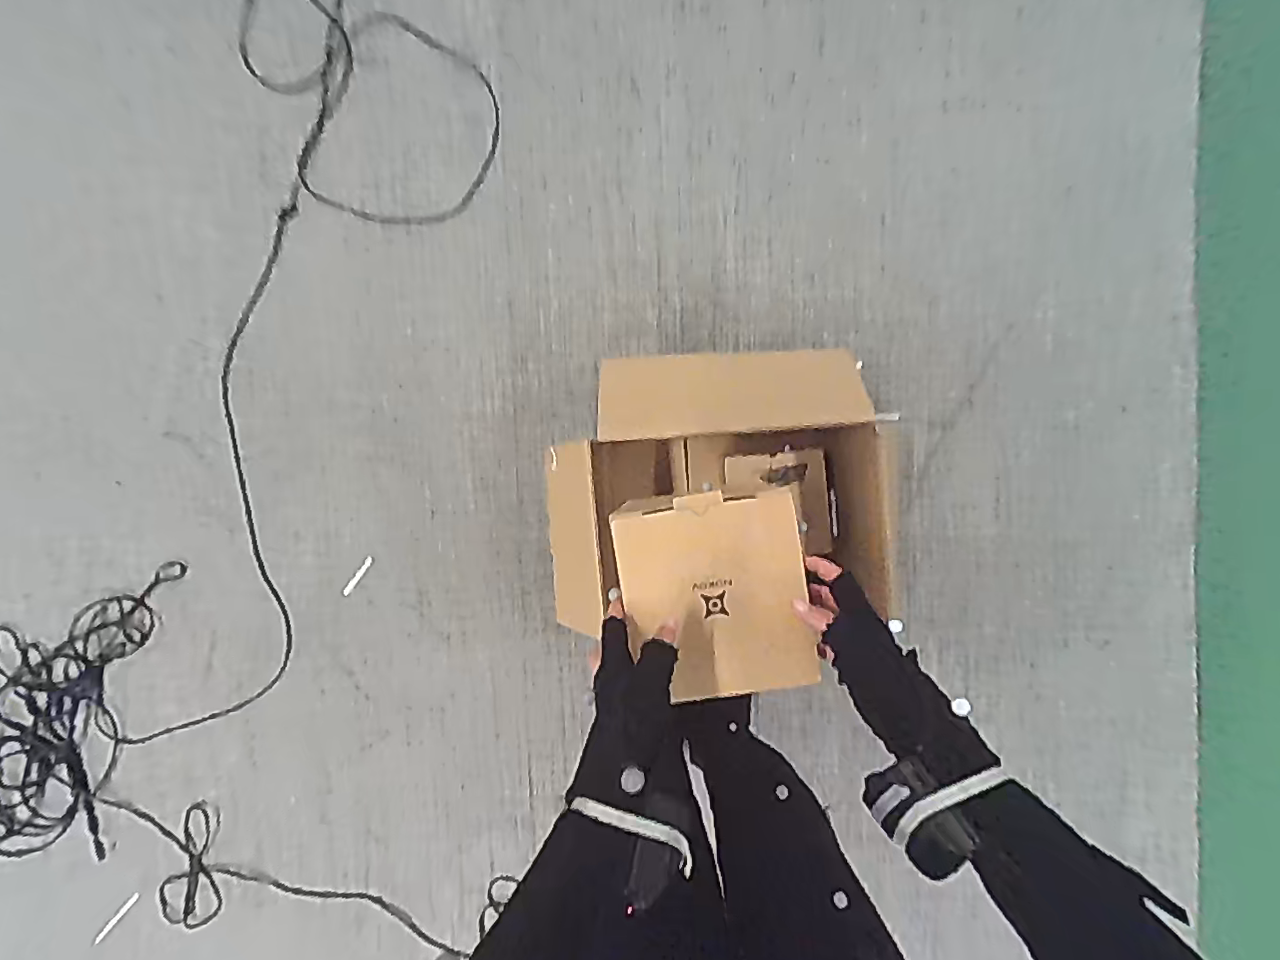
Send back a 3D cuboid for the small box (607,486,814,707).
[{"bbox_3d":[0.069,0.107,0.564,0.168,0.176,0.179,-10,91,3],"label":"small box"}]
